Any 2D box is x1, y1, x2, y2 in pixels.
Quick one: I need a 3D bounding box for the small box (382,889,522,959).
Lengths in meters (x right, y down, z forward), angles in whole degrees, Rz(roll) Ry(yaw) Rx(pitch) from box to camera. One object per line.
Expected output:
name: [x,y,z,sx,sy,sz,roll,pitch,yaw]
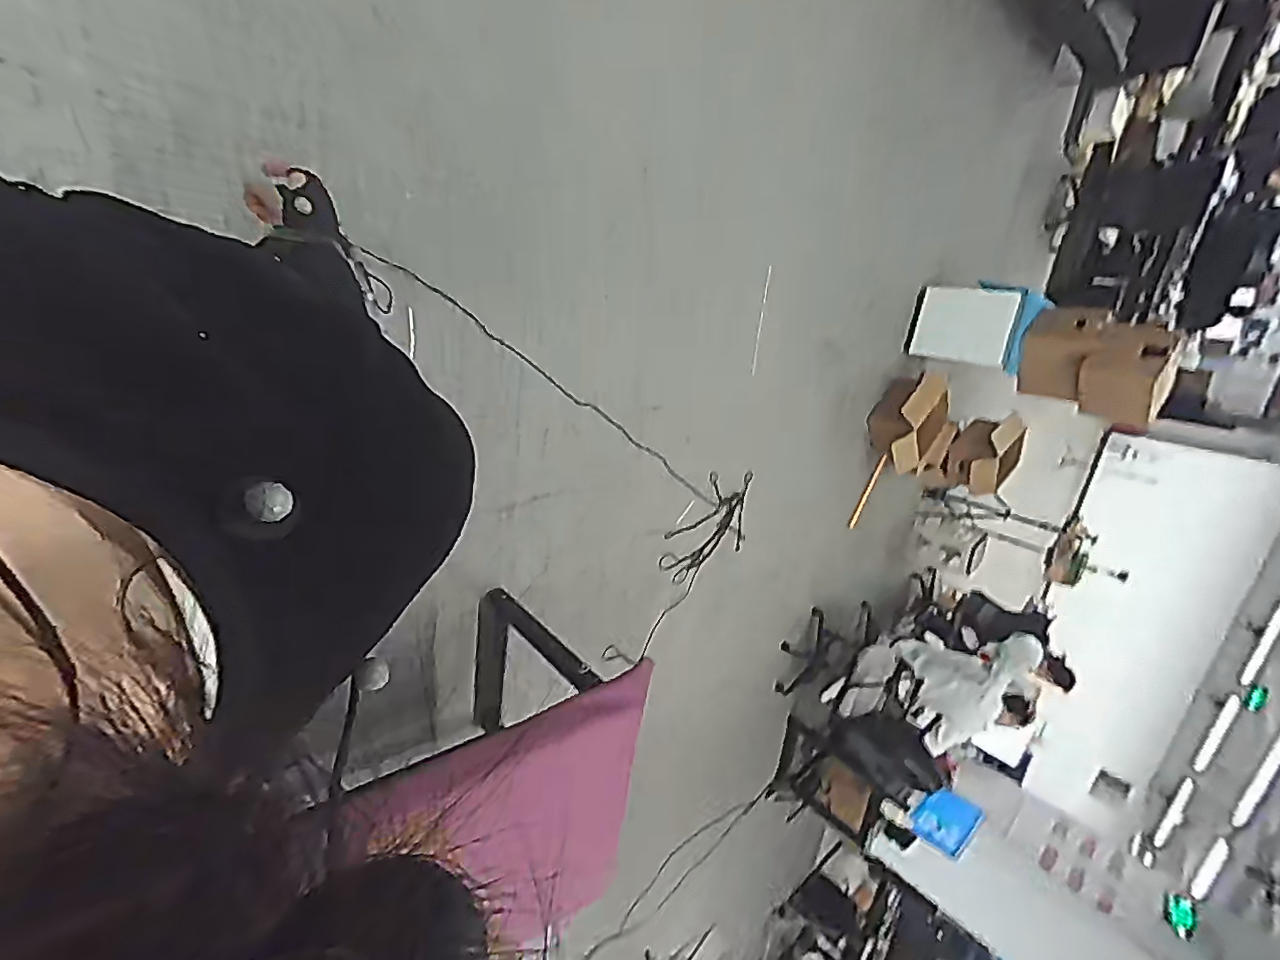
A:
small box: [-0.290,0.789,0.819,0.179,0.176,0.168,-8,114,-42]
